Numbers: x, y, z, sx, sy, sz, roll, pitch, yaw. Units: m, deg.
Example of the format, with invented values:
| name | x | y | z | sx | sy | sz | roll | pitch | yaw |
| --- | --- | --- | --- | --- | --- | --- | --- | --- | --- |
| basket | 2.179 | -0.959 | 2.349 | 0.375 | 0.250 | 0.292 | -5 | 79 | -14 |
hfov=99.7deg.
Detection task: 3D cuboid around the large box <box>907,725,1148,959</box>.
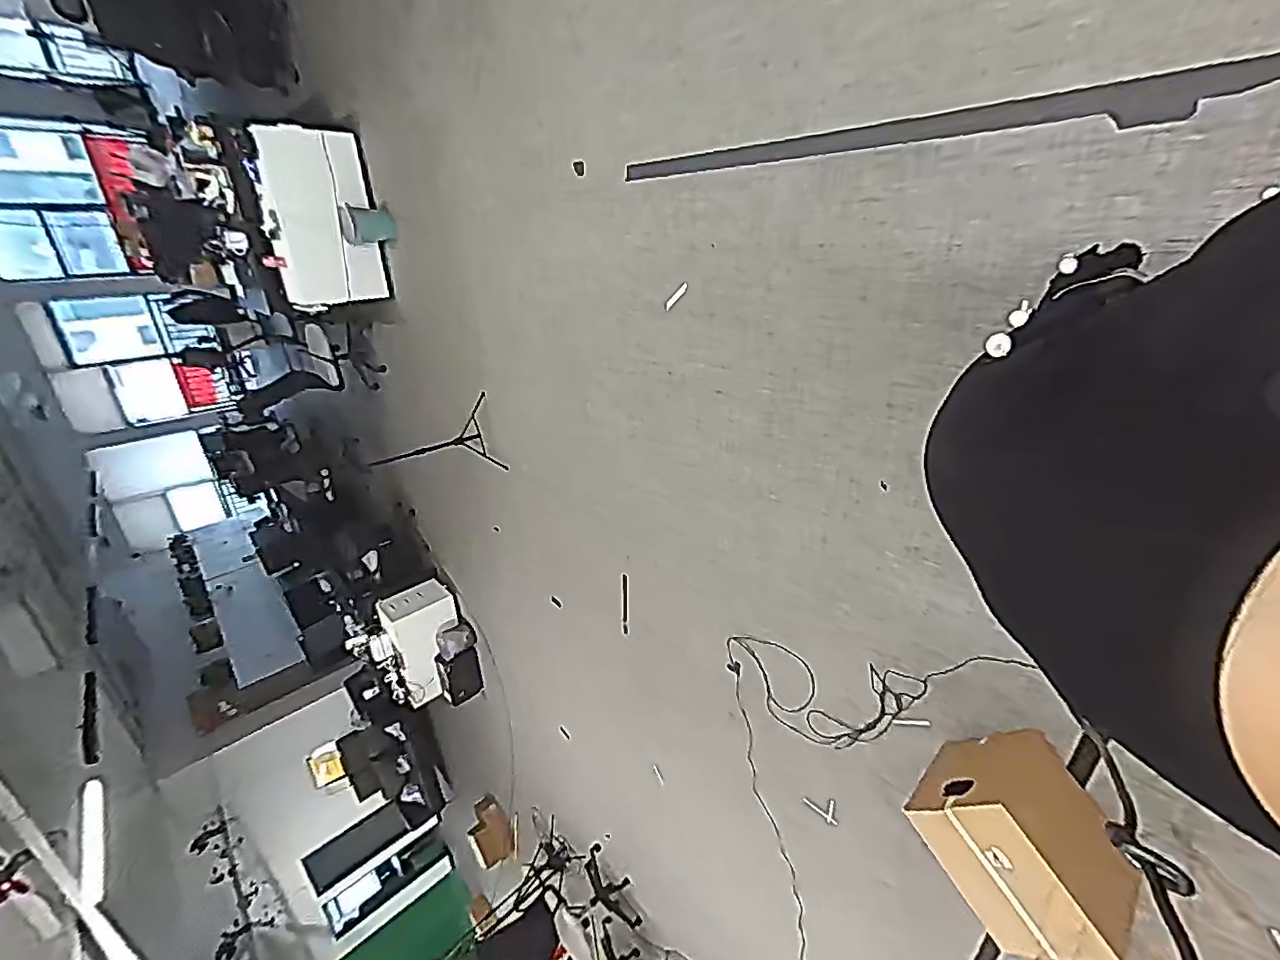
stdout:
| name | x | y | z | sx | sy | sz | roll | pitch | yaw |
| --- | --- | --- | --- | --- | --- | --- | --- | --- | --- |
| large box | 1.040 | 0.957 | 1.471 | 0.408 | 0.320 | 0.320 | 56 | 140 | 15 |
